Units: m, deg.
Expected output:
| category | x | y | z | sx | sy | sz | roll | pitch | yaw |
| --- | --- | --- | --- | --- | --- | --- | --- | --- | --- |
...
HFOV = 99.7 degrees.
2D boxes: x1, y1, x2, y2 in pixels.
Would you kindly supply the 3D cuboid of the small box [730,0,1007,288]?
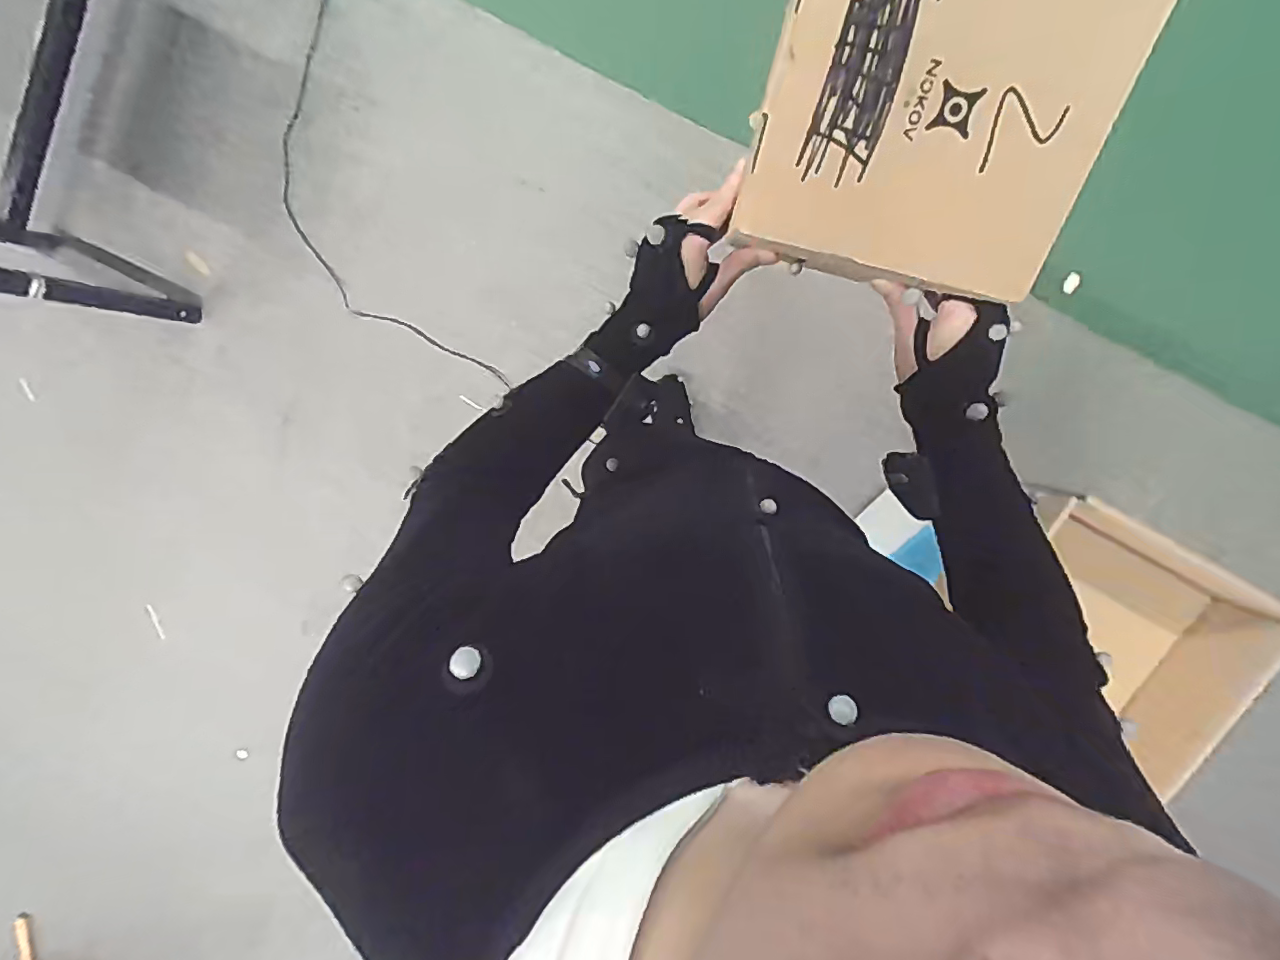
| category | x | y | z | sx | sy | sz | roll | pitch | yaw |
| --- | --- | --- | --- | --- | --- | --- | --- | --- | --- |
| small box | 0.185 | -0.292 | 0.508 | 0.168 | 0.176 | 0.179 | 16 | 113 | 2 |
